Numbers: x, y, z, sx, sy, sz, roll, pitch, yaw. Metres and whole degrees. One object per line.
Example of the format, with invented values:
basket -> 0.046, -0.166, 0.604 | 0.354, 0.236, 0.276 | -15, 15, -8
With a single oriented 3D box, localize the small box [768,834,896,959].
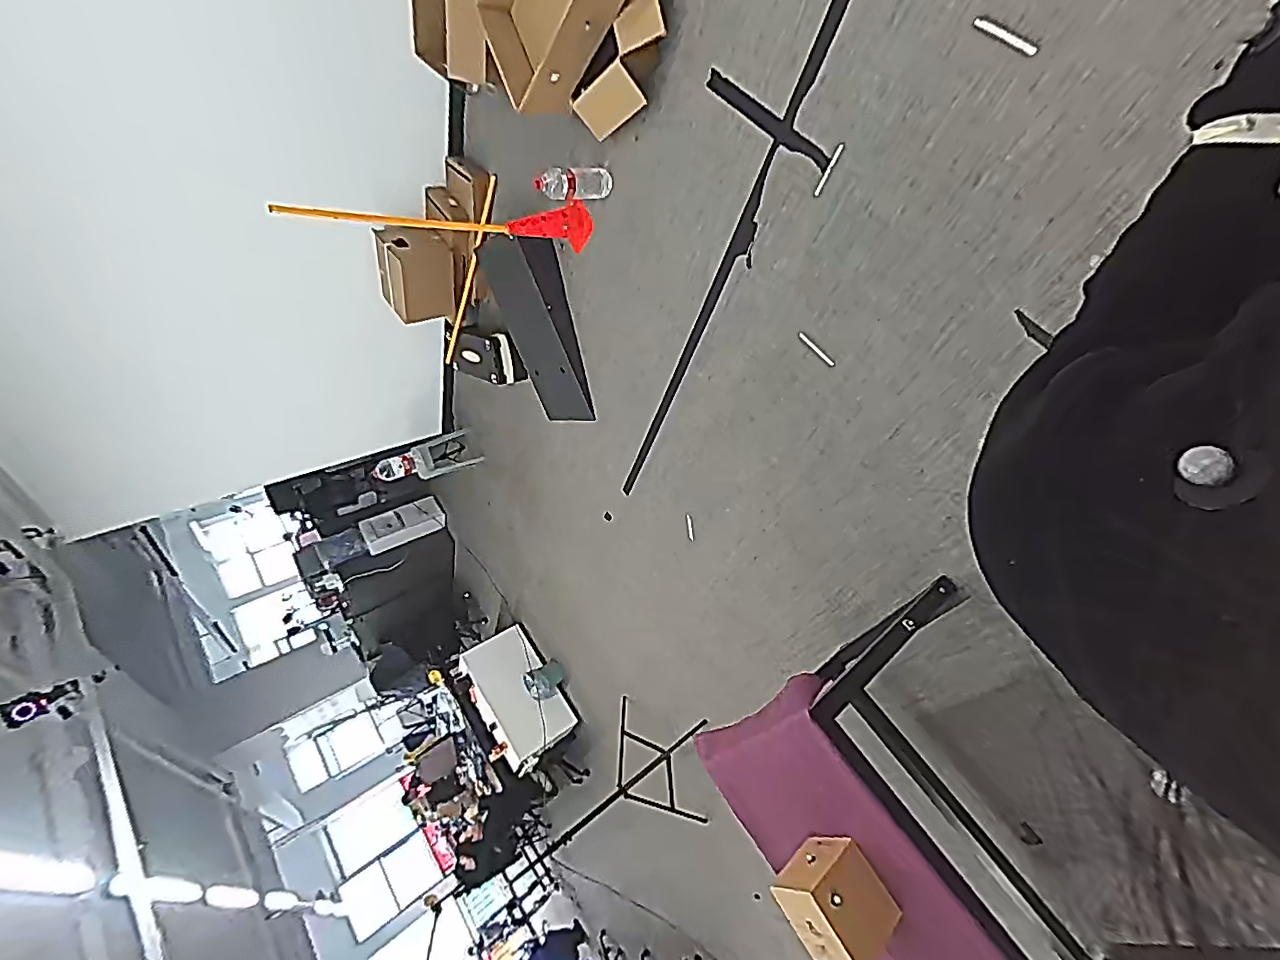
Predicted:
small box -> 0.435, 0.943, 1.231 | 0.179, 0.176, 0.168 | 55, 145, 15
